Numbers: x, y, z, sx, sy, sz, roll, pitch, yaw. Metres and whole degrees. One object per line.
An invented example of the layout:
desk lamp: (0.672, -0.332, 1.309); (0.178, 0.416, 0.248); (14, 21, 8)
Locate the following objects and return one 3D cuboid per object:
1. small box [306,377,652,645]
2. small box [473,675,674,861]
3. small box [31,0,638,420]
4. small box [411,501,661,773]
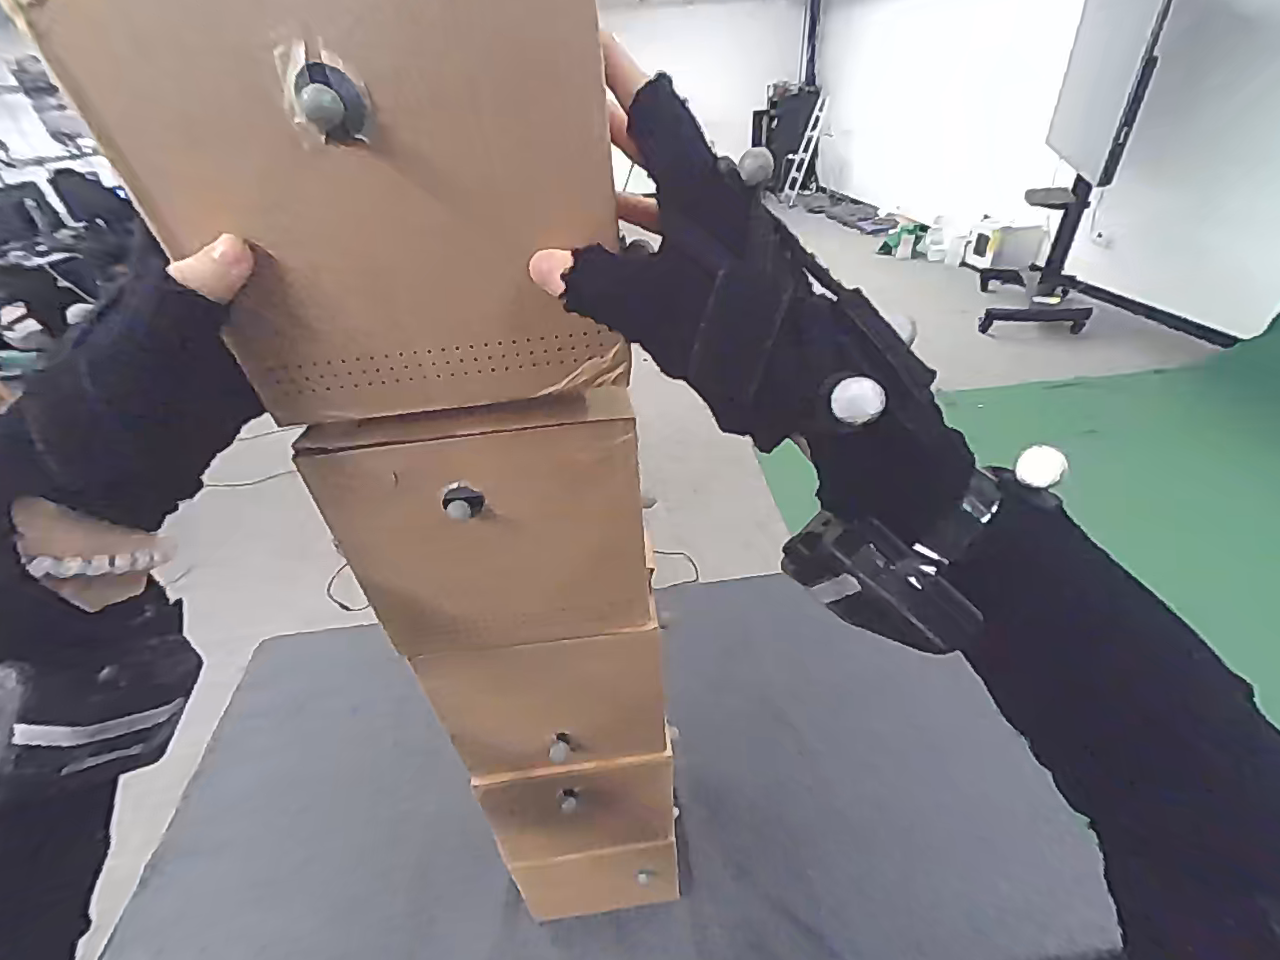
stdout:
small box: (-0.091, 0.000, 0.393); (0.179, 0.176, 0.168); (-7, 36, -3)
small box: (-0.062, 0.271, 0.576); (0.179, 0.176, 0.168); (-7, 35, -4)
small box: (-0.099, -0.144, 0.275); (0.179, 0.176, 0.168); (-6, 41, 0)
small box: (-0.075, 0.135, 0.485); (0.179, 0.176, 0.168); (-5, 34, -2)
